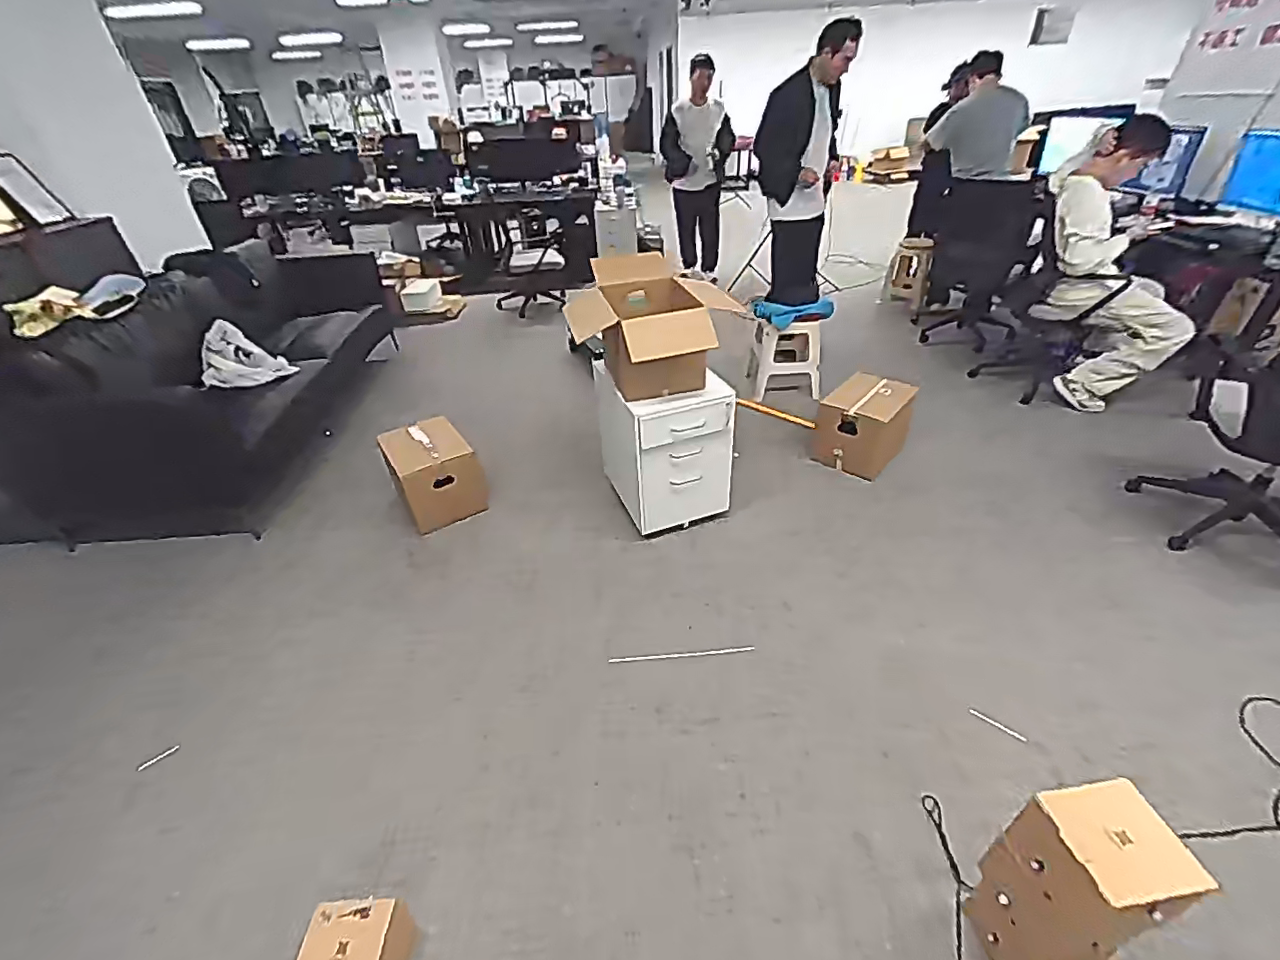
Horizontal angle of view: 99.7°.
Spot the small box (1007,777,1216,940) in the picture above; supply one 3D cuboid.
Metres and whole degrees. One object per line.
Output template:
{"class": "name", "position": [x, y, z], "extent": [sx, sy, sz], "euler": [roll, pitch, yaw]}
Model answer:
{"class": "small box", "position": [0.768, 0.634, 0.907], "extent": [0.179, 0.176, 0.168], "euler": [-8, 35, -4]}

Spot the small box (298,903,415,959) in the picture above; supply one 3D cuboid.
{"class": "small box", "position": [-0.582, 1.000, 1.102], "extent": [0.168, 0.176, 0.179], "euler": [-4, 35, 1]}

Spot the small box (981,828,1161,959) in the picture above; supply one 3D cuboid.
{"class": "small box", "position": [0.782, 0.763, 1.005], "extent": [0.179, 0.176, 0.168], "euler": [-7, 35, -3]}

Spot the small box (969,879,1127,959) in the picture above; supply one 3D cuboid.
{"class": "small box", "position": [0.798, 0.906, 1.085], "extent": [0.179, 0.176, 0.168], "euler": [-9, 36, -7]}
